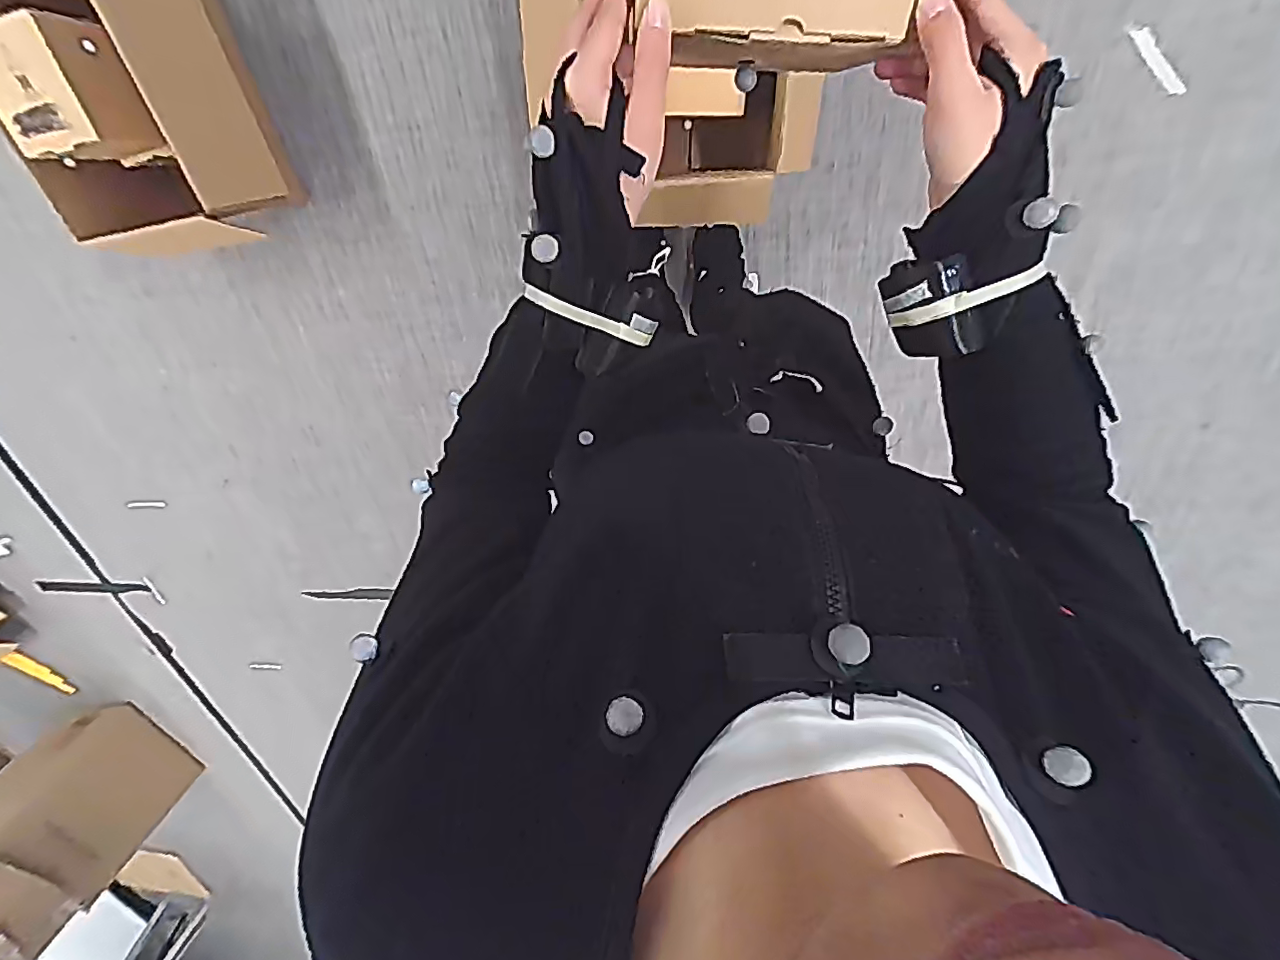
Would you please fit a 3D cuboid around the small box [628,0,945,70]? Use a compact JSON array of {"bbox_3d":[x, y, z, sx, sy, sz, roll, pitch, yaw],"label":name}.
[{"bbox_3d":[0.079,-0.357,0.310,0.168,0.176,0.179,0,122,-3],"label":"small box"}]
